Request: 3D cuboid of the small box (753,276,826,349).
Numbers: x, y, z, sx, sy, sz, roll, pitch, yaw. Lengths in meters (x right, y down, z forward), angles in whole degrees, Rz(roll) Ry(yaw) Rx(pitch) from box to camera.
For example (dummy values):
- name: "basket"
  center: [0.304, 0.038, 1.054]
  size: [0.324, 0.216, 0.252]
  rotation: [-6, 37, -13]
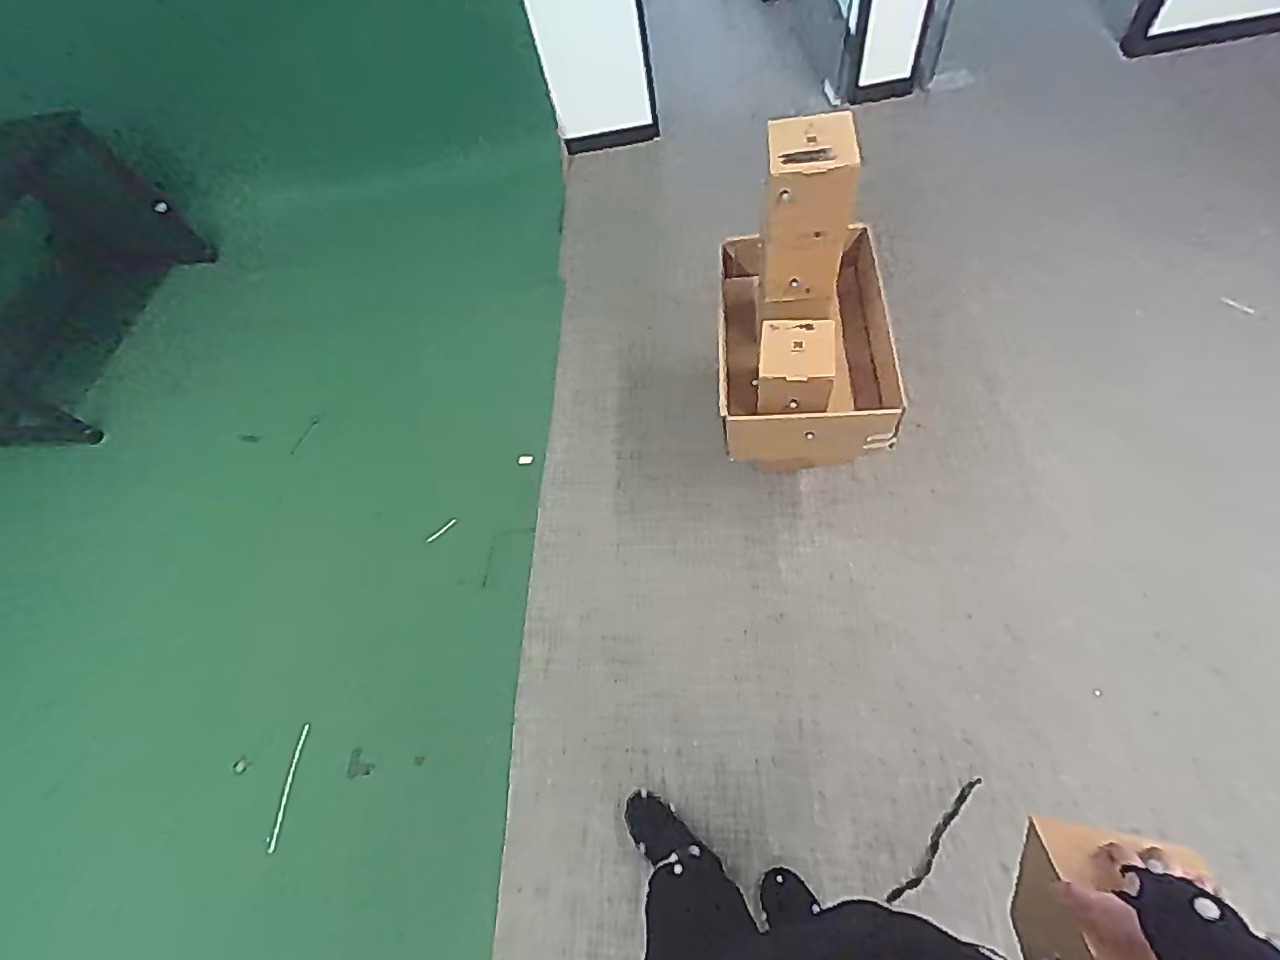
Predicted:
- name: "small box"
  center: [0.389, -0.472, 1.432]
  size: [0.168, 0.176, 0.179]
  rotation: [-2, 63, 10]

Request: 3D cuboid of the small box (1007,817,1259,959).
- name: "small box"
  center: [0.536, 0.531, 0.600]
  size: [0.168, 0.179, 0.176]
  rotation: [5, 106, 18]

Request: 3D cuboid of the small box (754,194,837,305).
- name: "small box"
  center: [0.362, -0.544, 1.290]
  size: [0.168, 0.176, 0.179]
  rotation: [-2, 63, 9]
